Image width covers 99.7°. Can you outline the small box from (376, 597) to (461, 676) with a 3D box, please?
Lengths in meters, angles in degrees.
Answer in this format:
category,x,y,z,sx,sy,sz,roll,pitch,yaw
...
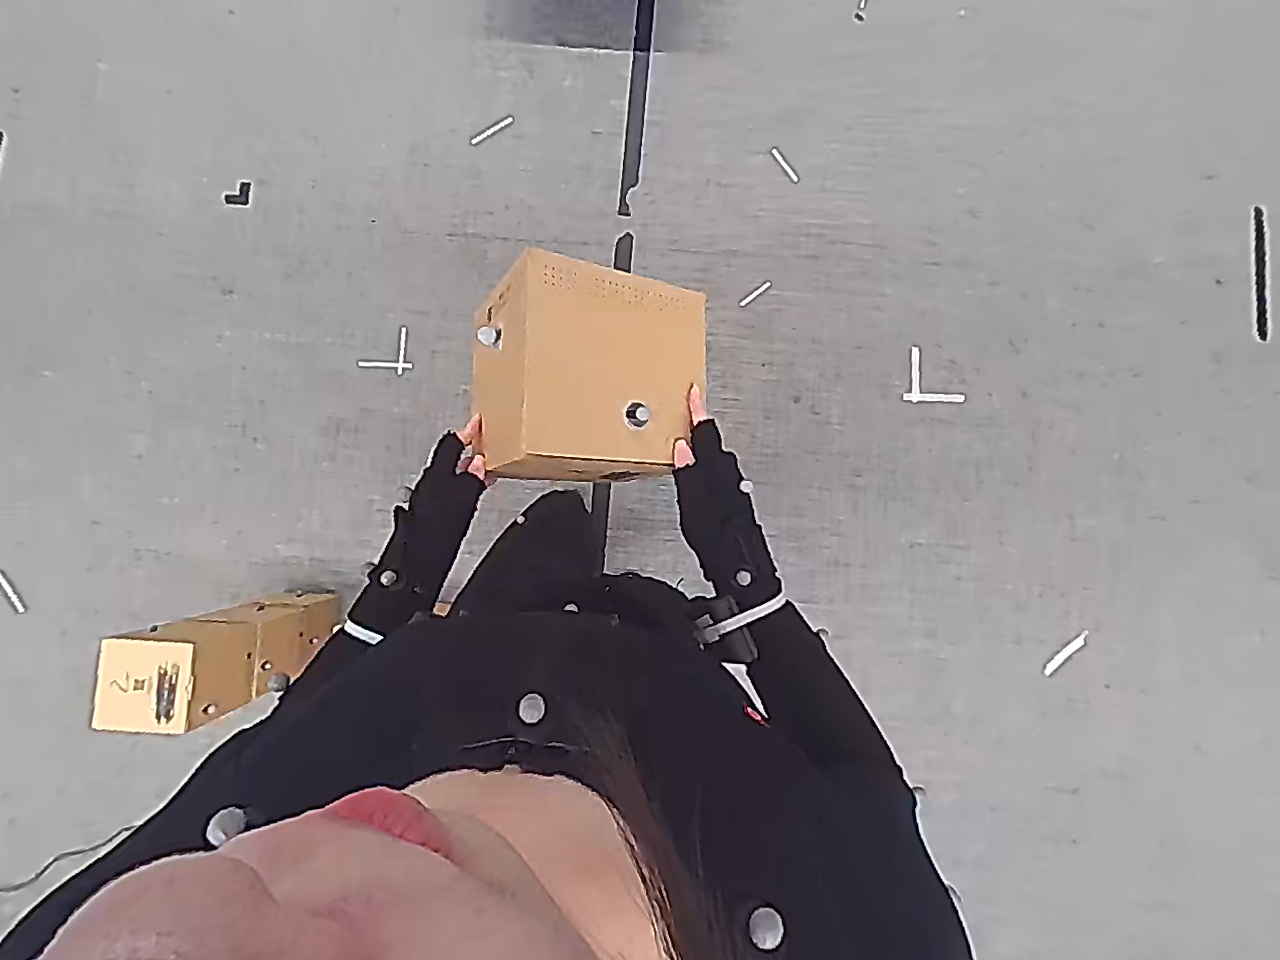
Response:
category,x,y,z,sx,sy,sz,roll,pitch,yaw
small box,-0.580,0.413,1.410,0.168,0.176,0.179,6,86,0

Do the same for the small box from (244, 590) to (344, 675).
category,x,y,z,sx,sy,sz,roll,pitch,yaw
small box,-0.900,0.392,1.410,0.168,0.176,0.179,2,86,0

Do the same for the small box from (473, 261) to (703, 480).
category,x,y,z,sx,sy,sz,roll,pitch,yaw
small box,-0.054,-0.091,0.528,0.179,0.168,0.176,3,84,-31

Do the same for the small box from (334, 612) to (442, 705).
category,x,y,z,sx,sy,sz,roll,pitch,yaw
small box,-0.571,0.404,1.248,0.179,0.176,0.168,2,87,0

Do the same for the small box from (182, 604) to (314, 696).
category,x,y,z,sx,sy,sz,roll,pitch,yaw
small box,-0.894,0.385,1.246,0.179,0.176,0.168,2,87,1
